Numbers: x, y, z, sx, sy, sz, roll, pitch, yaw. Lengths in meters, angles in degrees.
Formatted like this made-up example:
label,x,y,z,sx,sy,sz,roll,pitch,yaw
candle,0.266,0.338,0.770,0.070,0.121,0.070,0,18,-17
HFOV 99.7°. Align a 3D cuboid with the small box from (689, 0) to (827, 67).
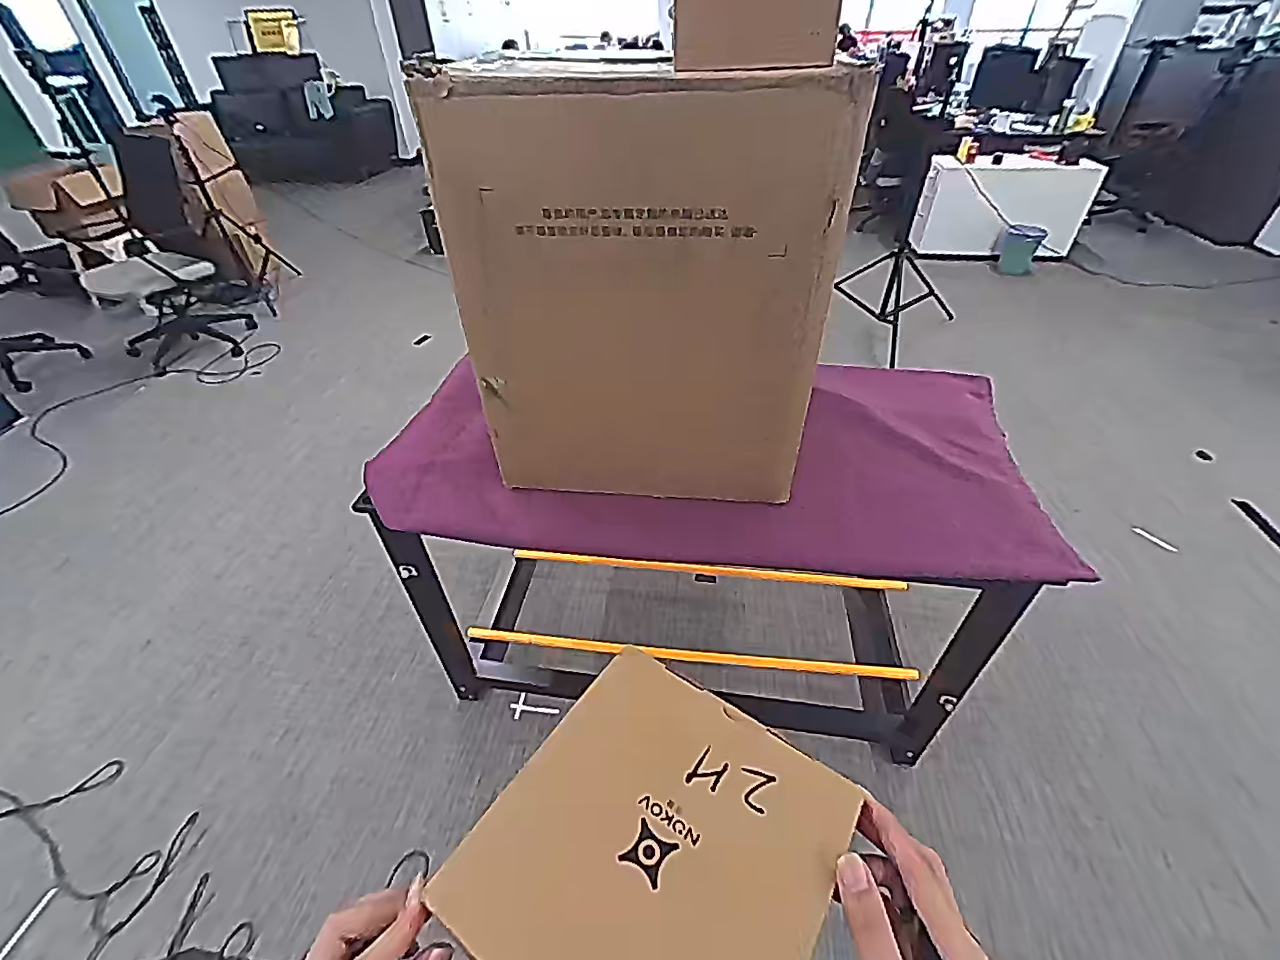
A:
label,x,y,z,sx,sy,sz,roll,pitch,yaw
small box,0.158,-0.667,0.730,0.179,0.176,0.168,3,40,6
